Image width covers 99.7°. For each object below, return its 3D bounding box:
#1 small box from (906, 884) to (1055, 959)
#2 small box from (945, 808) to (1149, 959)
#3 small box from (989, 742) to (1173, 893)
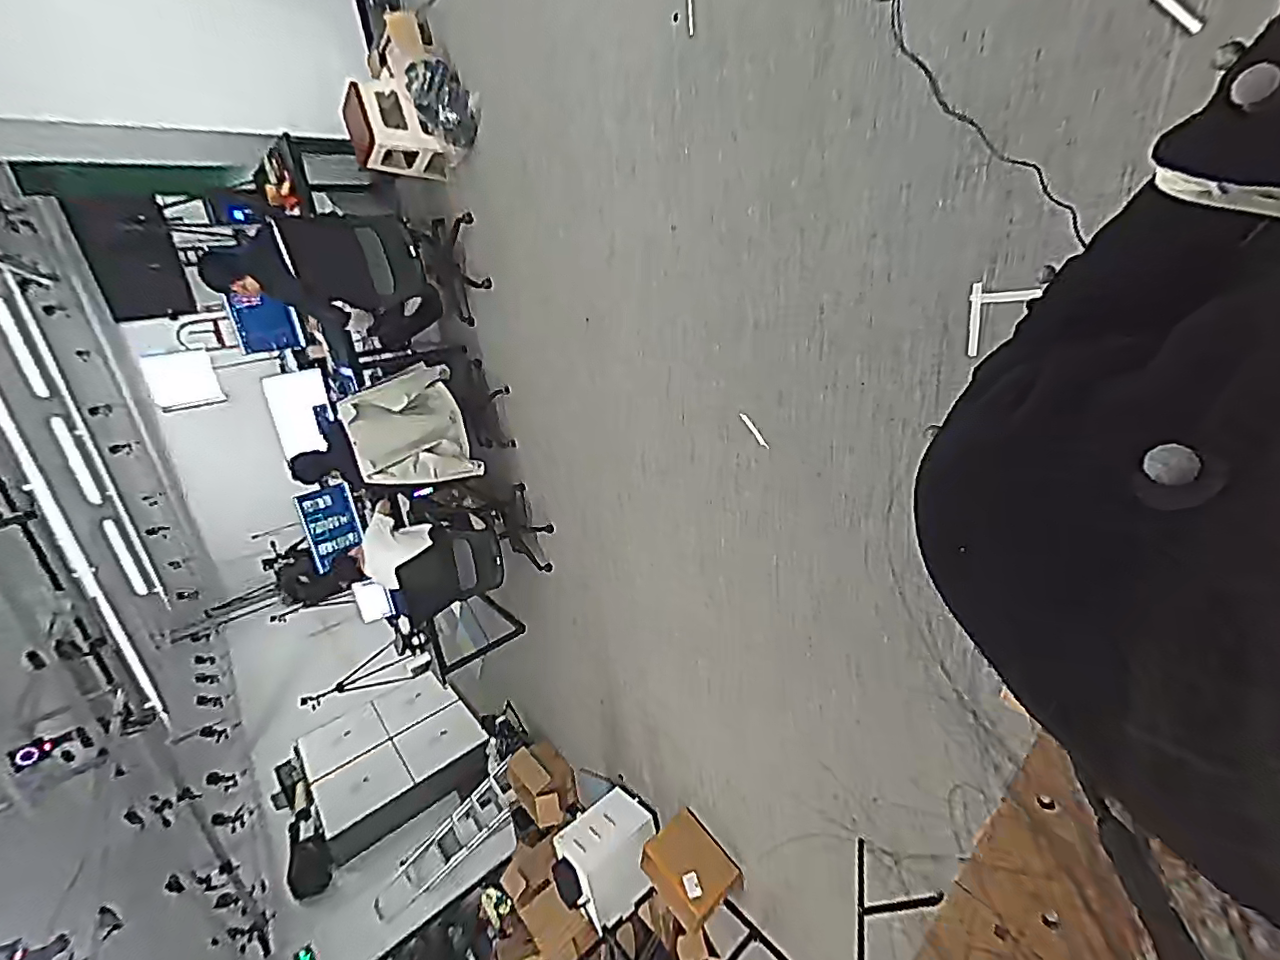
[{"bbox_3d":[0.398,0.632,0.626,0.168,0.176,0.179,23,125,45],"label":"small box"},{"bbox_3d":[0.524,0.582,0.719,0.179,0.176,0.168,23,124,45],"label":"small box"},{"bbox_3d":[0.646,0.532,0.812,0.179,0.176,0.168,23,125,45],"label":"small box"}]
